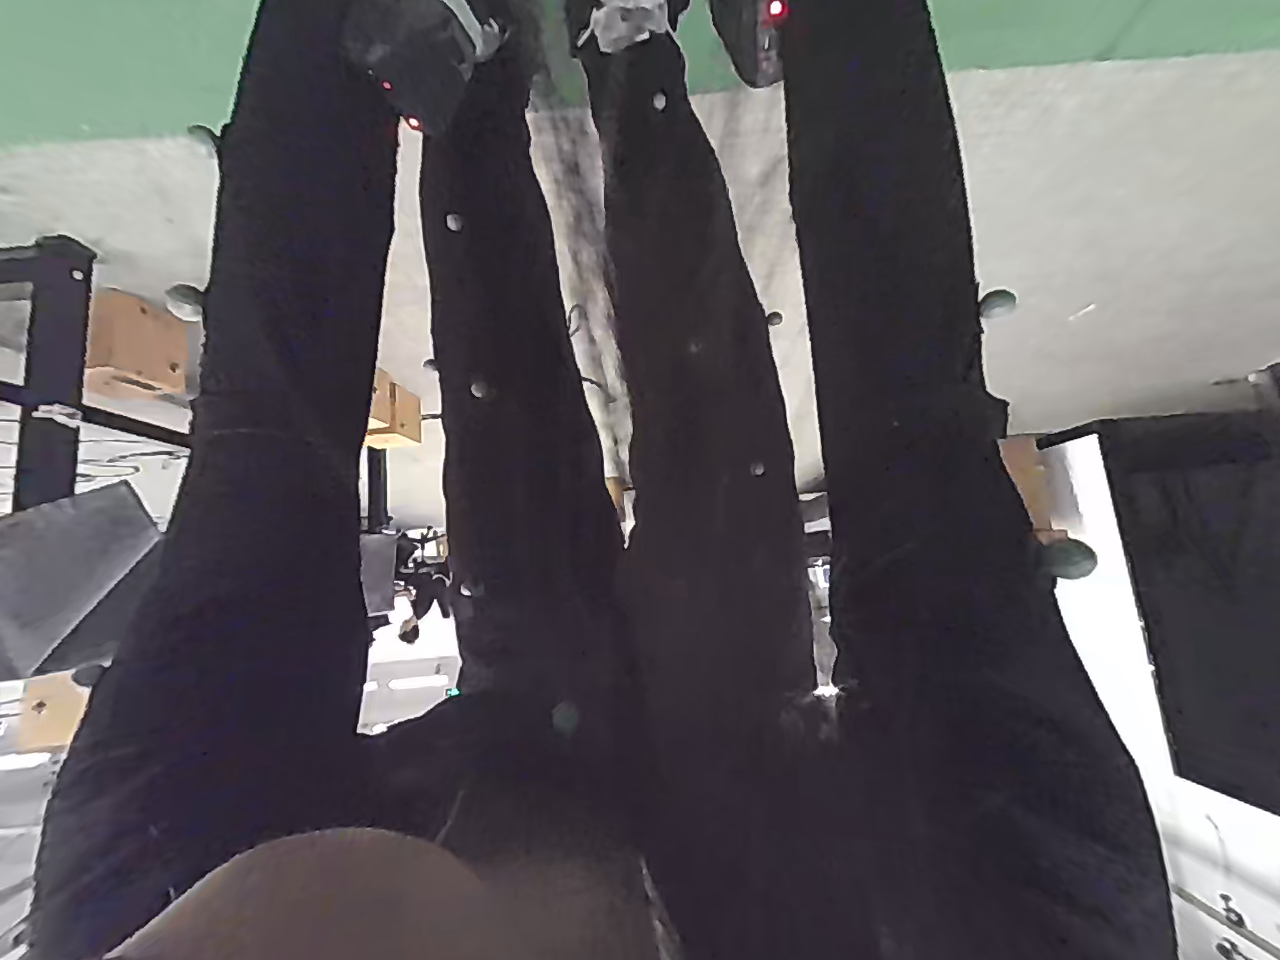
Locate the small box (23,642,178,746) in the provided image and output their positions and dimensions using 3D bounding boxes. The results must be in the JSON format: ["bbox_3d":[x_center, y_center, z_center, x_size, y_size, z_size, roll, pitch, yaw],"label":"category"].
[{"bbox_3d":[-1.122,0.442,1.141,0.179,0.176,0.168,-5,173,3],"label":"small box"}]
